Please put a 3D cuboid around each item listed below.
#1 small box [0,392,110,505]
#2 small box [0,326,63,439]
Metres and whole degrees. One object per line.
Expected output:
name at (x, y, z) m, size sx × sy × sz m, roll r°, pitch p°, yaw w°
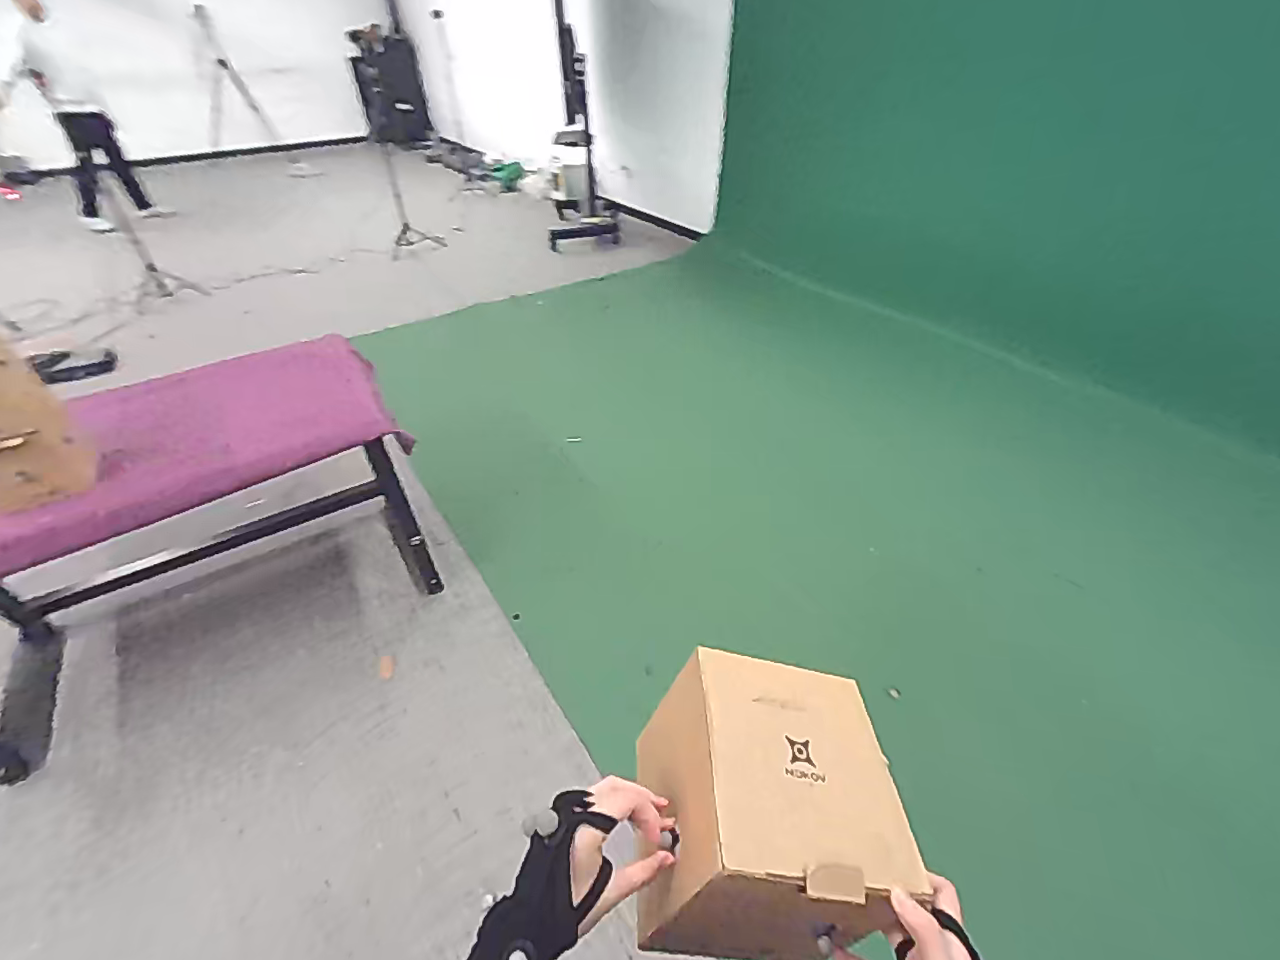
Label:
small box at (-1.343, -0.065, 1.211) m, size 0.168 × 0.176 × 0.179 m, roll -23°, pitch 46°, yaw -24°
small box at (-1.342, -0.187, 1.100) m, size 0.168 × 0.176 × 0.179 m, roll -23°, pitch 44°, yaw -24°
